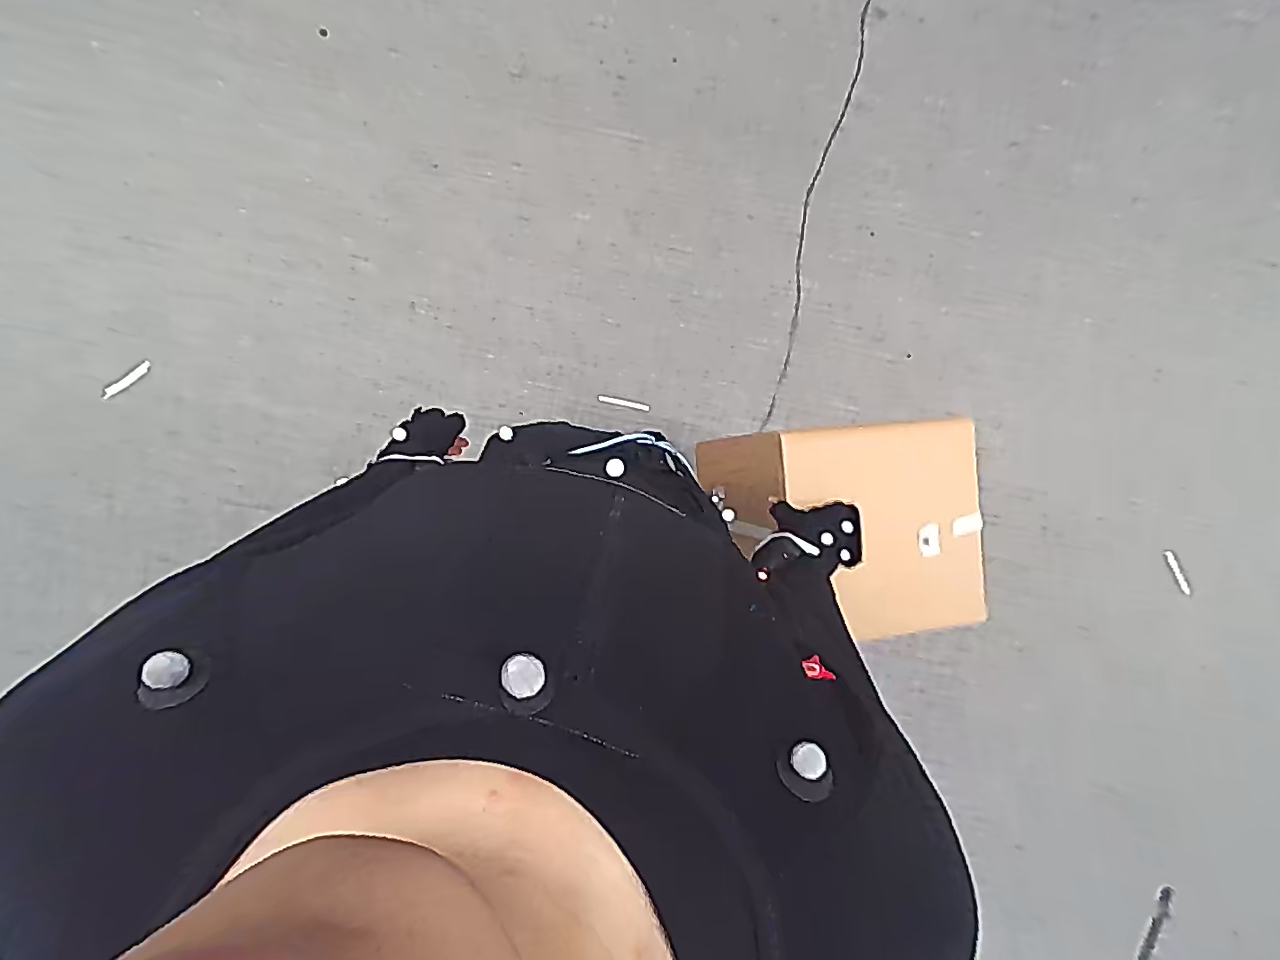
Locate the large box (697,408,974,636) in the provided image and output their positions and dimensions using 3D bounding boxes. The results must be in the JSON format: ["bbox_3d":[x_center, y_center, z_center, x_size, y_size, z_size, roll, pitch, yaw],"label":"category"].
[{"bbox_3d":[0.320,0.056,0.991,0.320,0.408,0.320,-6,93,-9],"label":"large box"}]
